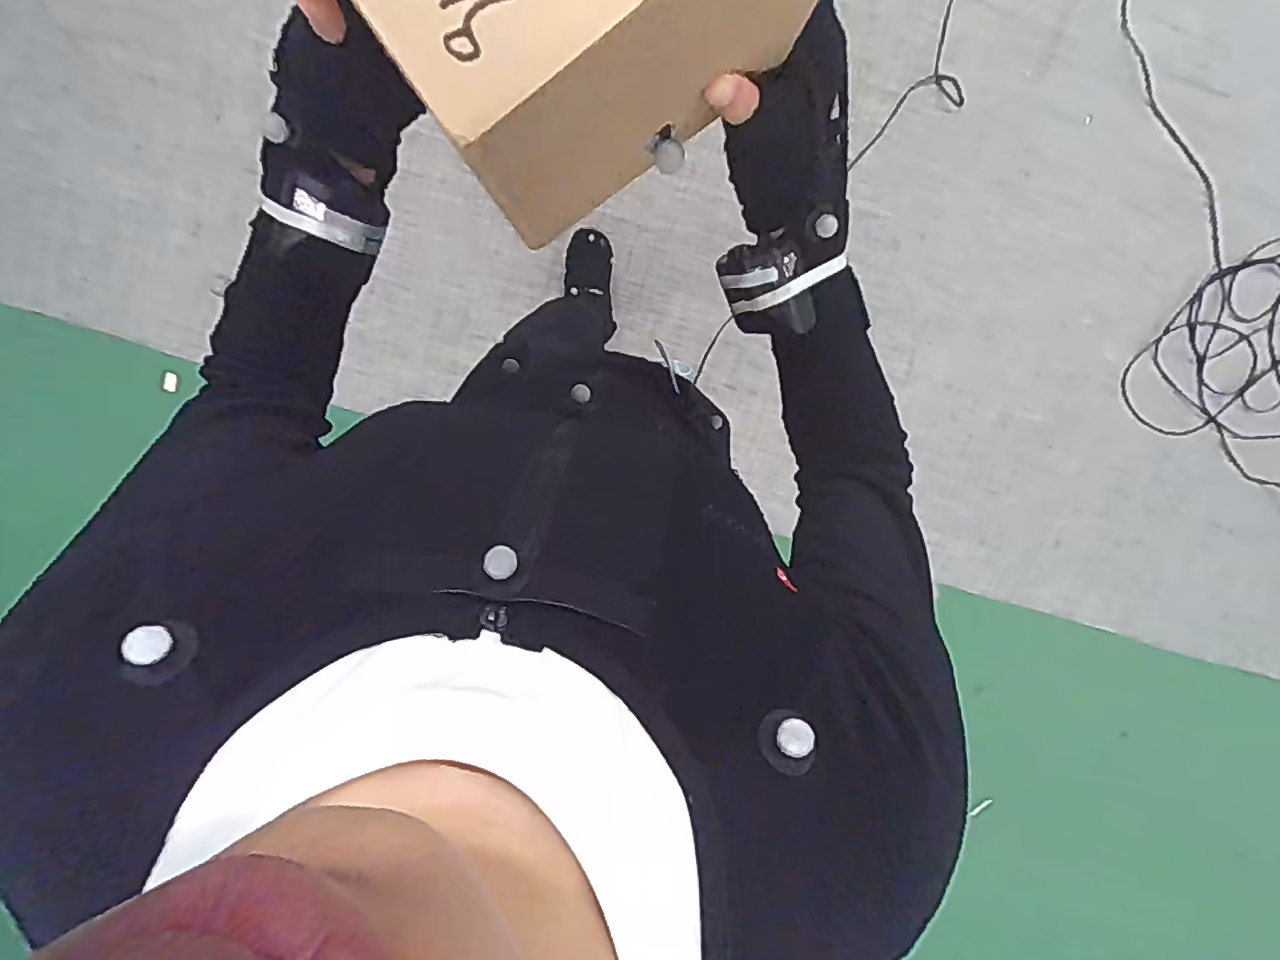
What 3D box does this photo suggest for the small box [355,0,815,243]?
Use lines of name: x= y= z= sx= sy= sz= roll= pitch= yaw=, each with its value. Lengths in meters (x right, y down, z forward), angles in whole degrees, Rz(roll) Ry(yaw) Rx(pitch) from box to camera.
small box: x=-0.032 y=-0.230 z=0.218 sx=0.179 sy=0.176 sz=0.168 roll=-35 pitch=102 yaw=4
